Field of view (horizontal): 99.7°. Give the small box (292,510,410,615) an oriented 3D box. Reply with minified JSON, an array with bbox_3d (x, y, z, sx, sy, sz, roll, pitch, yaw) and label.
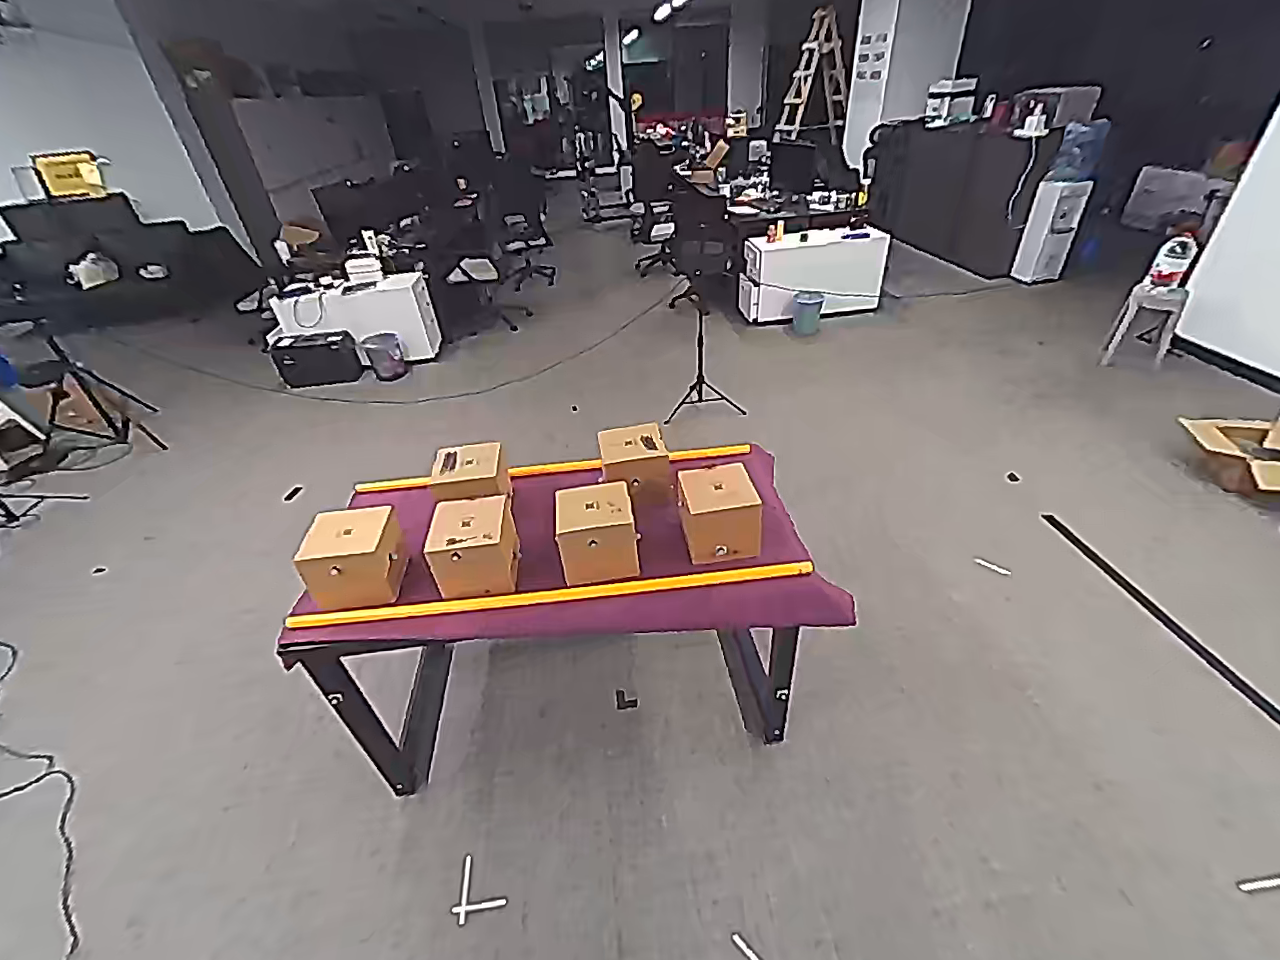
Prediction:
[{"bbox_3d":[-0.667,0.195,1.277,0.179,0.176,0.168,-7,35,-3],"label":"small box"}]

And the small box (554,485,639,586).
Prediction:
[{"bbox_3d":[-0.104,0.134,1.289,0.179,0.176,0.168,-8,34,-4],"label":"small box"}]

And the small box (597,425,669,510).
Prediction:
[{"bbox_3d":[-0.018,-0.029,1.504,0.179,0.176,0.168,-9,37,-4],"label":"small box"}]

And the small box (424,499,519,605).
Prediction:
[{"bbox_3d":[-0.388,0.169,1.280,0.168,0.176,0.179,-8,36,-2],"label":"small box"}]

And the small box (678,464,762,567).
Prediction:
[{"bbox_3d":[0.190,0.085,1.317,0.168,0.176,0.179,-9,34,-2],"label":"small box"}]
